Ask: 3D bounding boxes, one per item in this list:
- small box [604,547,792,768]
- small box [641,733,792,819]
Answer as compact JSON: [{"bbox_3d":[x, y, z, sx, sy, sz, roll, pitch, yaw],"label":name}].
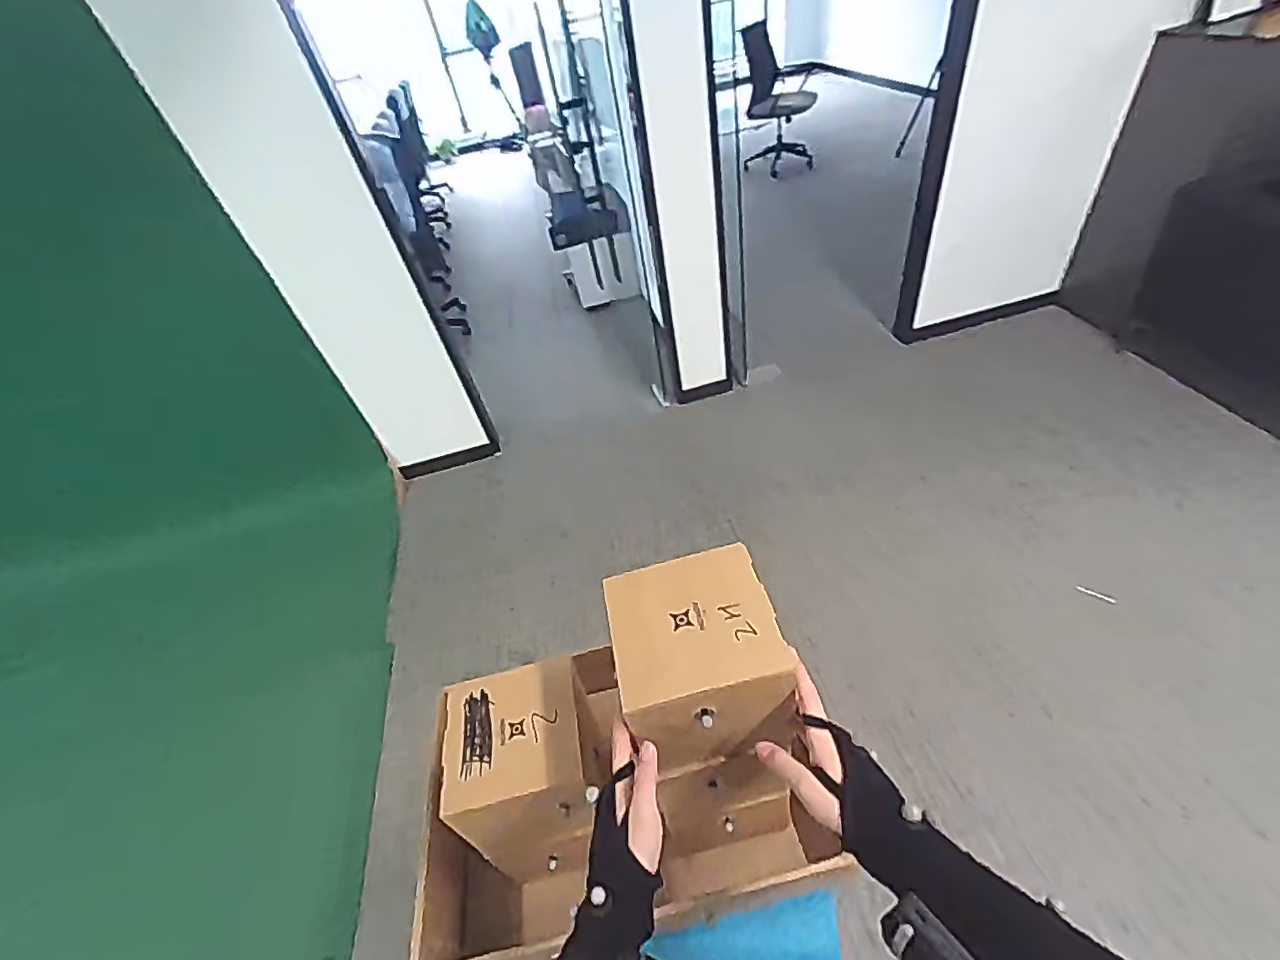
[{"bbox_3d":[0.069,0.210,0.632,0.179,0.176,0.168,-14,43,1],"label":"small box"},{"bbox_3d":[0.096,0.334,0.738,0.179,0.176,0.168,-17,43,0],"label":"small box"}]
